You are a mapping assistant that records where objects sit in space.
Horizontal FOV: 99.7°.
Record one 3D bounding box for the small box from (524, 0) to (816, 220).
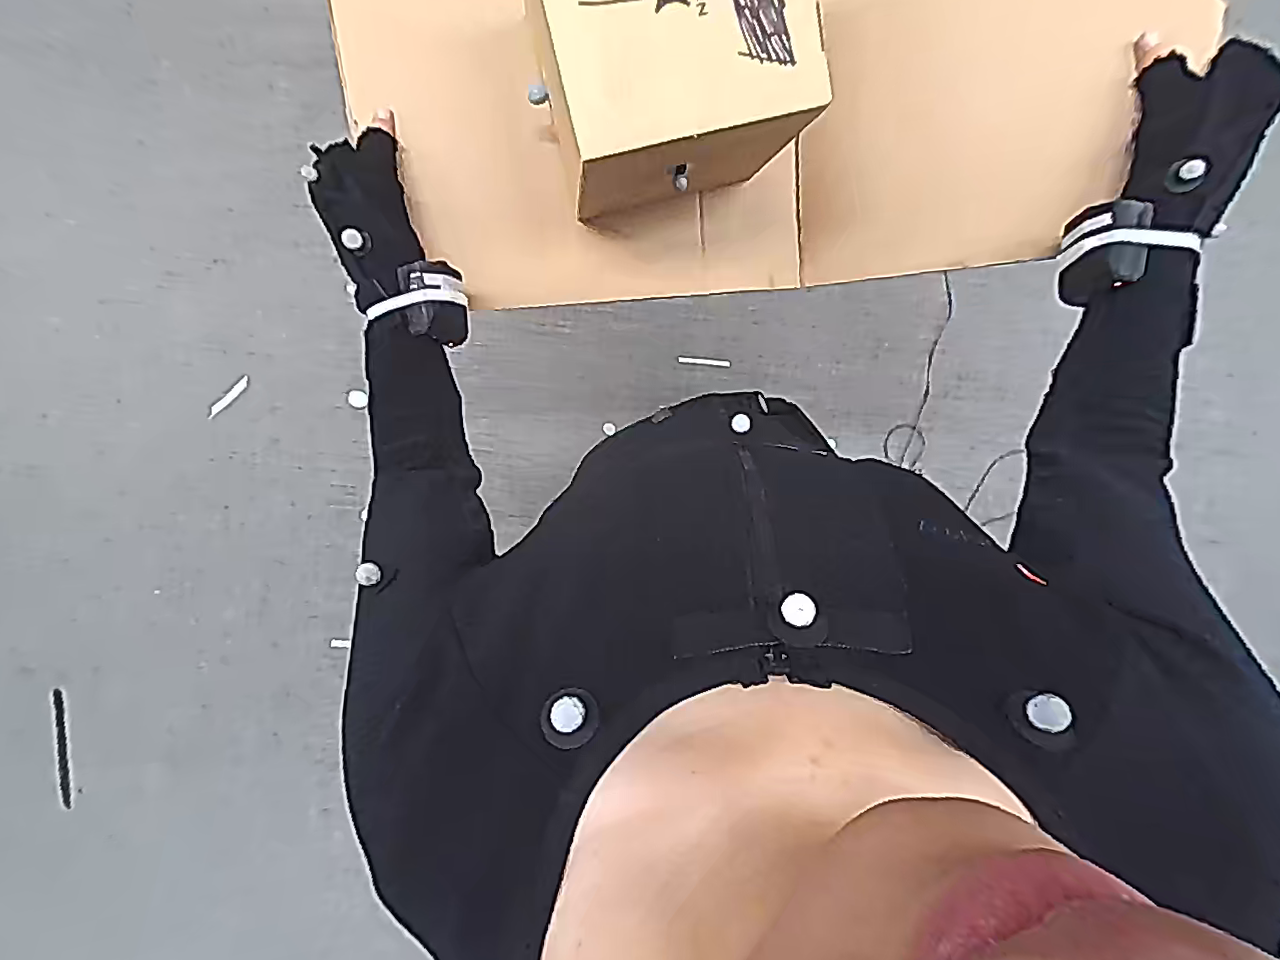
[{"bbox_3d":[0.011,-0.324,0.425,0.179,0.176,0.168,-16,105,-3],"label":"small box"}]
